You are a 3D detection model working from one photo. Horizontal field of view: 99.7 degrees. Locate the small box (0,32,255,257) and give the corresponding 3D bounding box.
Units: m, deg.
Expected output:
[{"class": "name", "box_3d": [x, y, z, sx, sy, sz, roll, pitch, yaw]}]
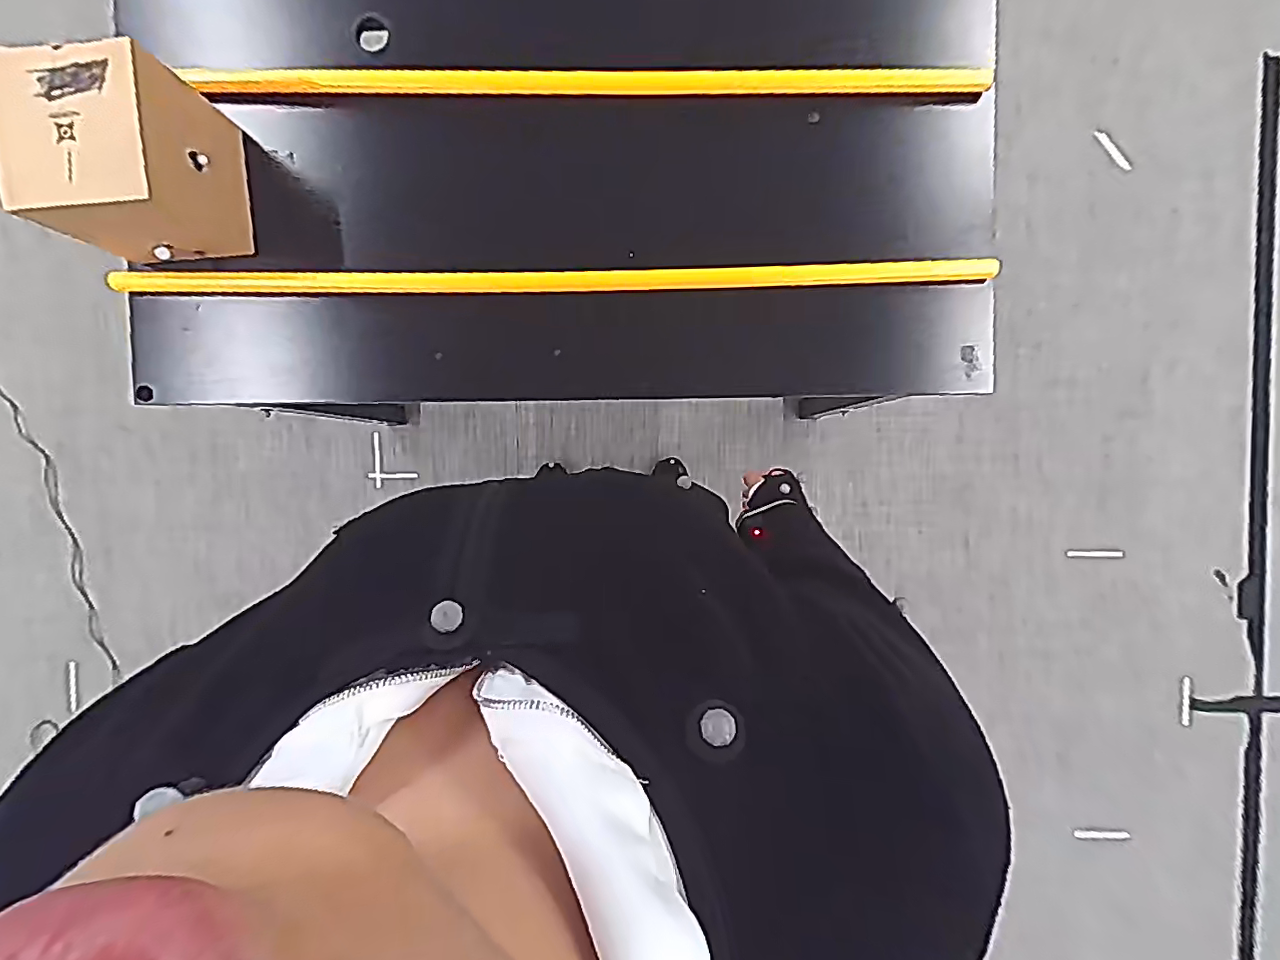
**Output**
[{"class": "small box", "box_3d": [-0.618, -0.398, 0.668, 0.168, 0.176, 0.179, -4, 93, 0]}]
